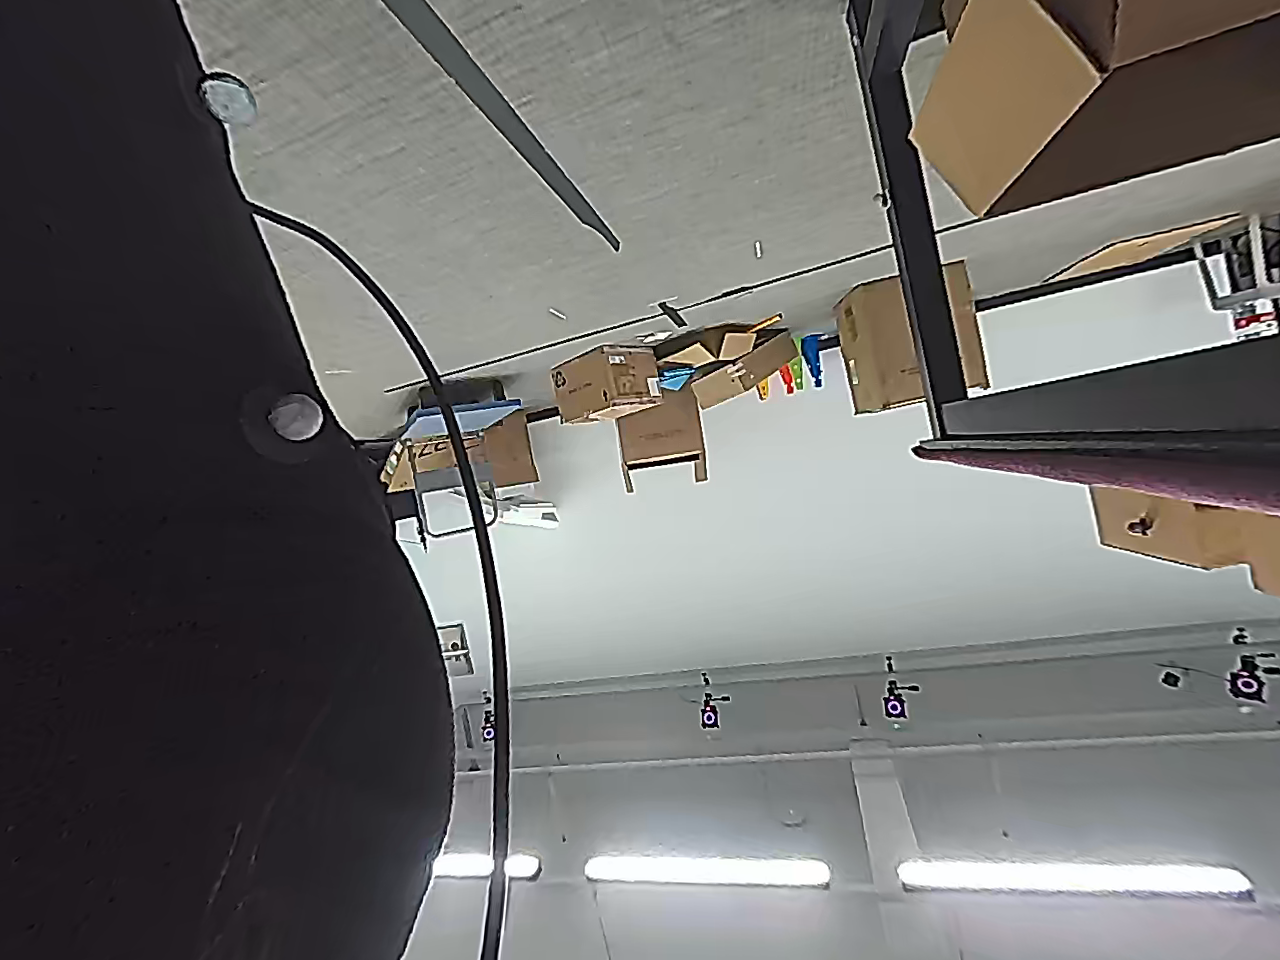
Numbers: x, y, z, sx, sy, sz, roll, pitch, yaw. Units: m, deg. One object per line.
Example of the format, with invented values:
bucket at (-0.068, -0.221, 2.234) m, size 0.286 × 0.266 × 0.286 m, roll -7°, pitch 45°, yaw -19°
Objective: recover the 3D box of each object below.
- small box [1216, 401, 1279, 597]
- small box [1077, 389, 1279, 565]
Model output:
small box at (0.621, 0.008, 0.417) m, size 0.179 × 0.176 × 0.168 m, roll -12°, pitch -179°, yaw 12°
small box at (0.672, -0.010, 0.652) m, size 0.168 × 0.176 × 0.179 m, roll -13°, pitch -179°, yaw 10°
